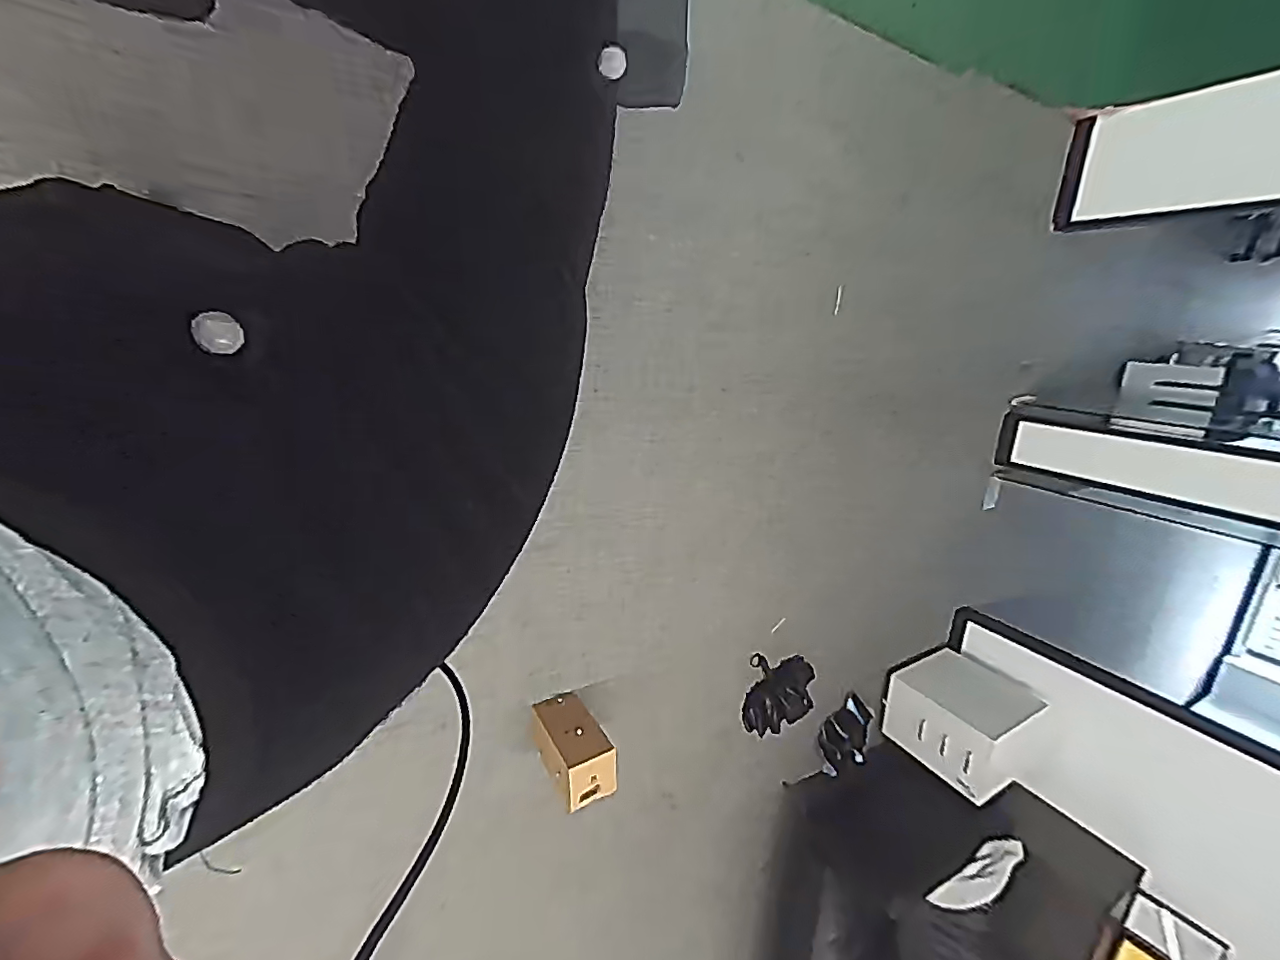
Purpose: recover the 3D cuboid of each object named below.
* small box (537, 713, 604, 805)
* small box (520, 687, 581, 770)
[{"bbox_3d":[-0.231,0.913,1.785,0.168,0.176,0.179,-11,111,-31],"label":"small box"},{"bbox_3d":[-0.319,0.874,1.919,0.168,0.176,0.179,-11,110,-31],"label":"small box"}]
